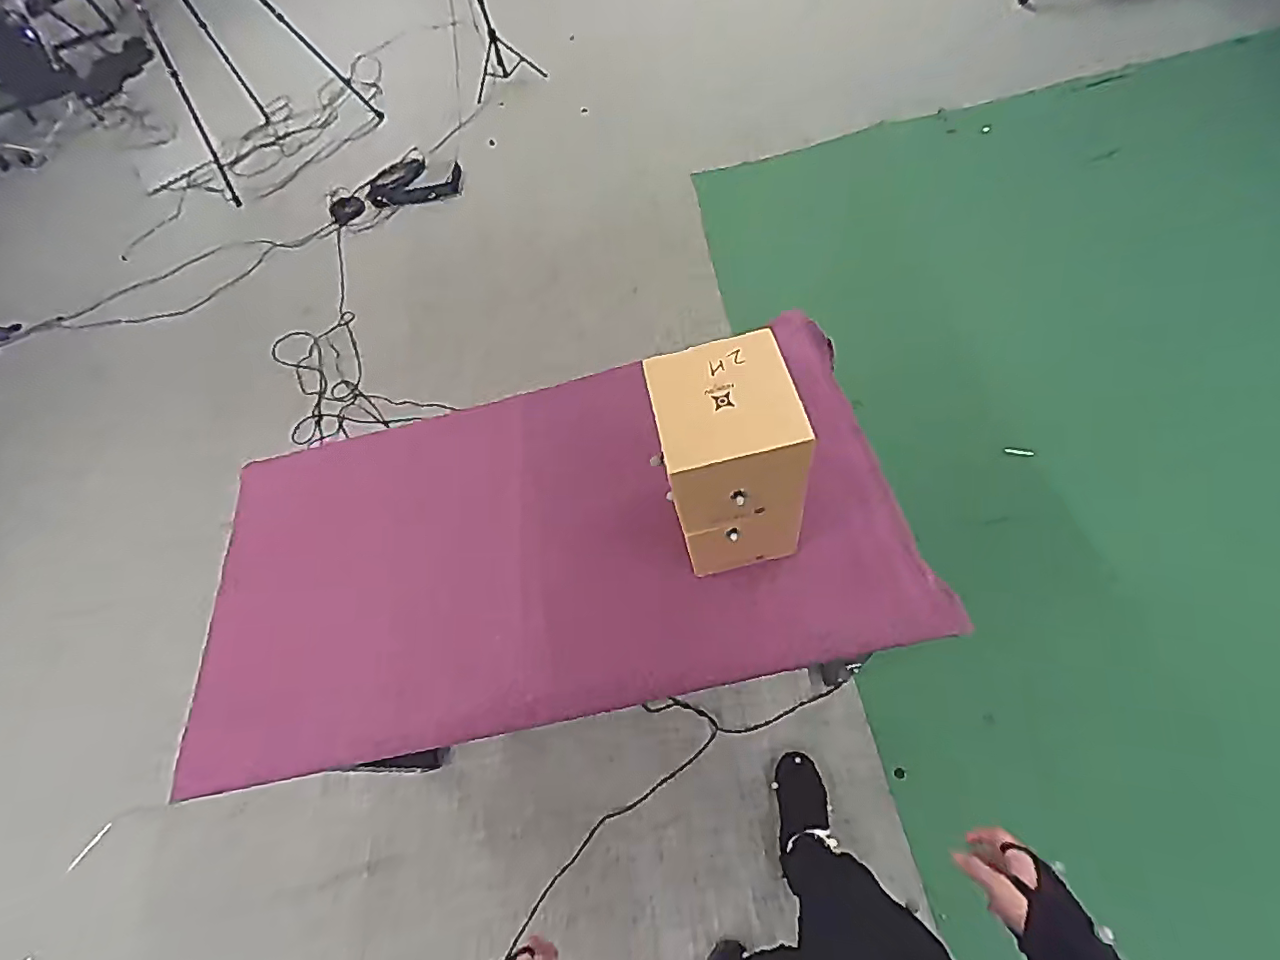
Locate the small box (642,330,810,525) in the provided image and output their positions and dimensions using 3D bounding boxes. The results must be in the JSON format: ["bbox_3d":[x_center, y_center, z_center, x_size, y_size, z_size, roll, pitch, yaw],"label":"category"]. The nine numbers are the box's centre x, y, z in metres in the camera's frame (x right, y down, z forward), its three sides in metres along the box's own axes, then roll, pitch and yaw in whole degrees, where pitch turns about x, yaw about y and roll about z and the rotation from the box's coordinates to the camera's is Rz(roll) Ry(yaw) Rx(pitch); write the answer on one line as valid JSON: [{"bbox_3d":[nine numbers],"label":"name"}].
[{"bbox_3d":[0.108,-0.055,0.694,0.168,0.176,0.179,-13,59,4],"label":"small box"}]

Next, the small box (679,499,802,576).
[{"bbox_3d":[0.138,0.026,0.835,0.168,0.176,0.179,-15,58,4],"label":"small box"}]
